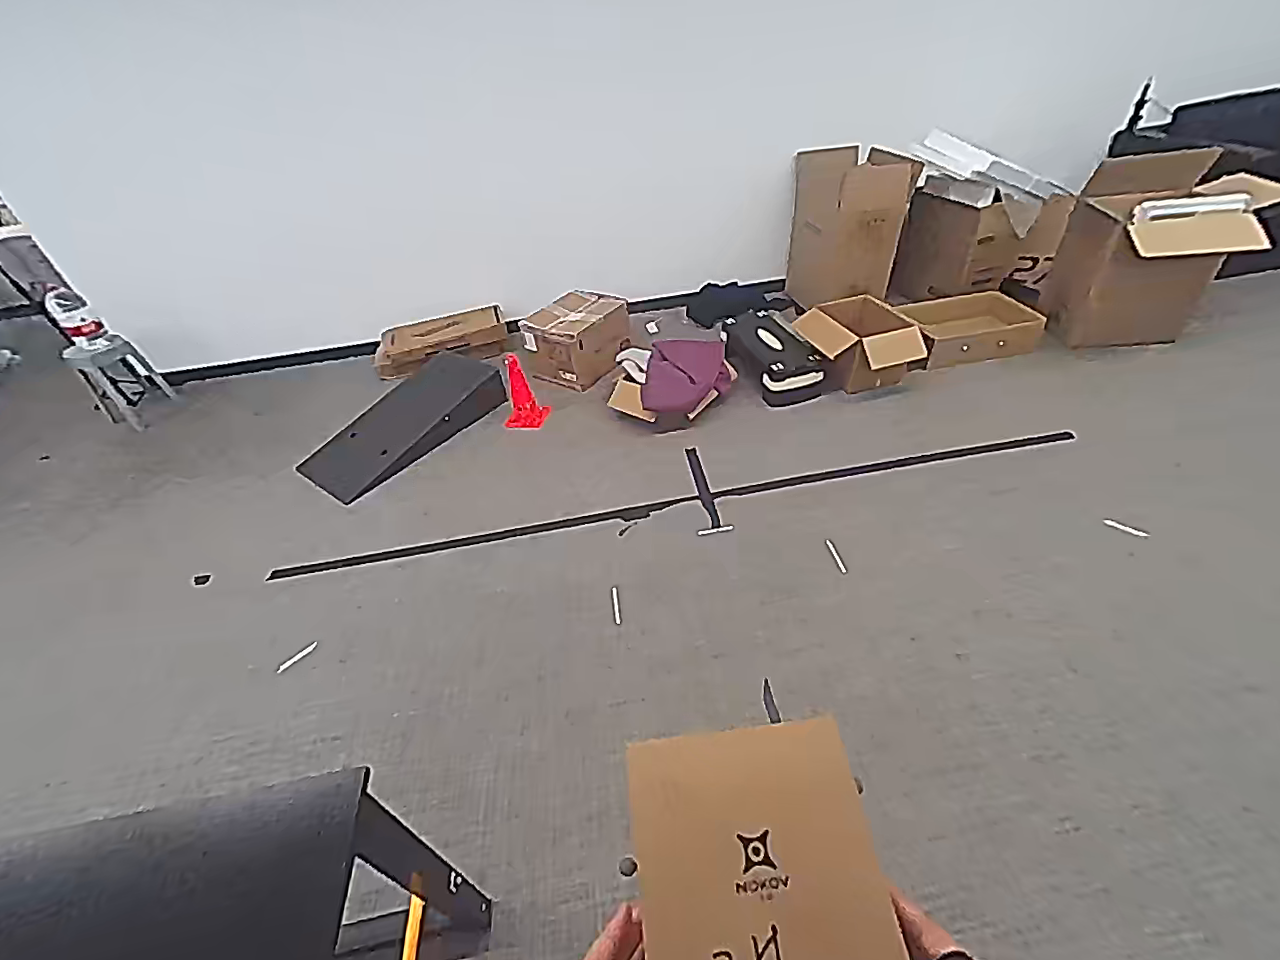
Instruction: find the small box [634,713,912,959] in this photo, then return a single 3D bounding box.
[{"bbox_3d":[0.087,0.308,0.435,0.168,0.176,0.179,-7,53,-1],"label":"small box"}]
